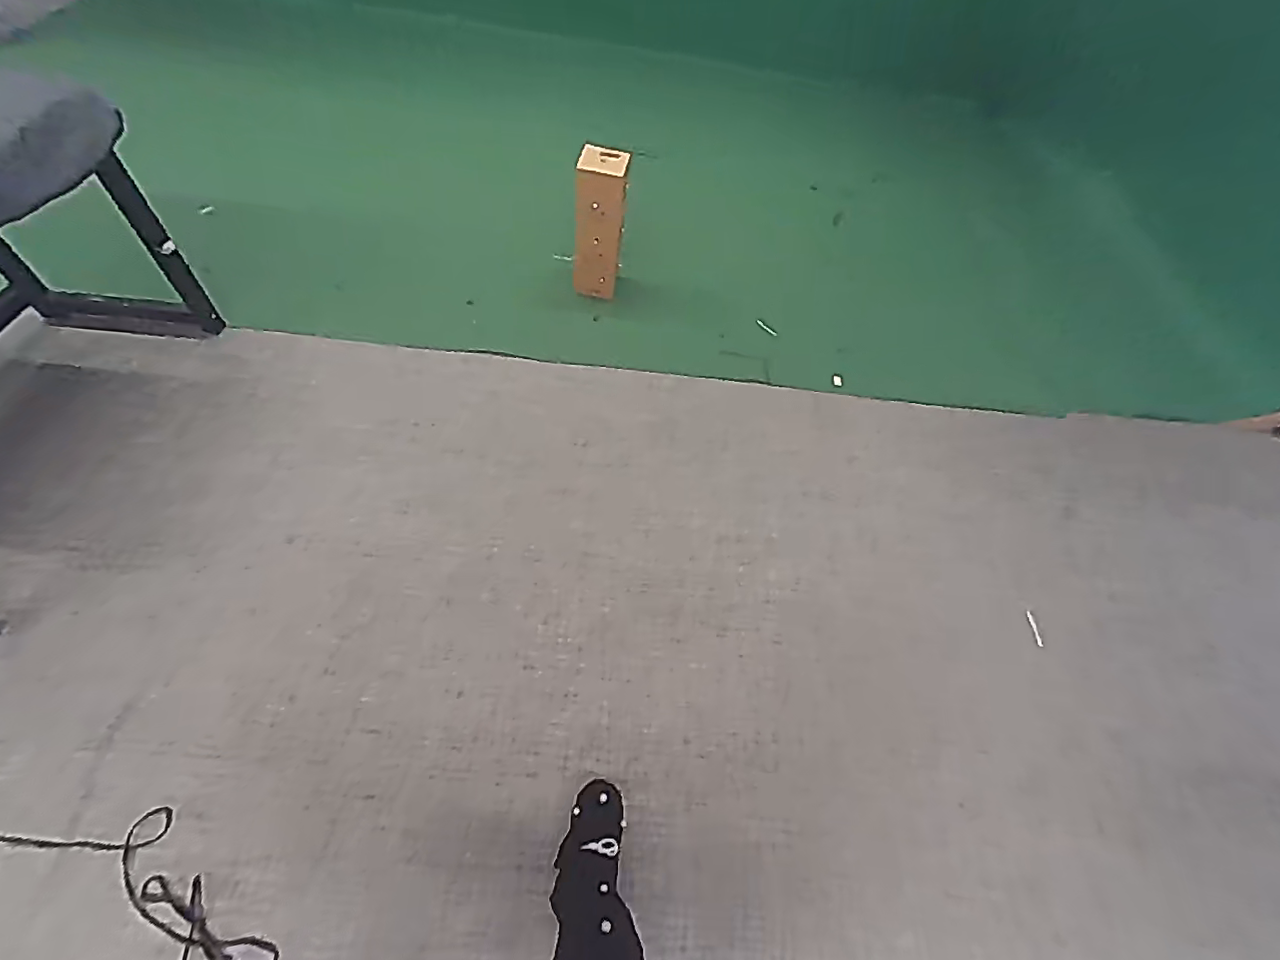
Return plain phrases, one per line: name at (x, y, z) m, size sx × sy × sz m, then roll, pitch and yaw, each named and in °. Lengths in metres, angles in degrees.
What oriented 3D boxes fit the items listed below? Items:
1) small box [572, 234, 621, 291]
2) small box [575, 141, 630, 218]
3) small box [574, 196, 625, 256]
small box at (-0.180, -0.895, 2.192) m, size 0.168 × 0.176 × 0.179 m, roll 12°, pitch 54°, yaw -2°
small box at (-0.139, -1.078, 1.945) m, size 0.168 × 0.176 × 0.179 m, roll 11°, pitch 56°, yaw -1°
small box at (-0.158, -0.984, 2.080) m, size 0.168 × 0.176 × 0.179 m, roll 11°, pitch 56°, yaw -2°
